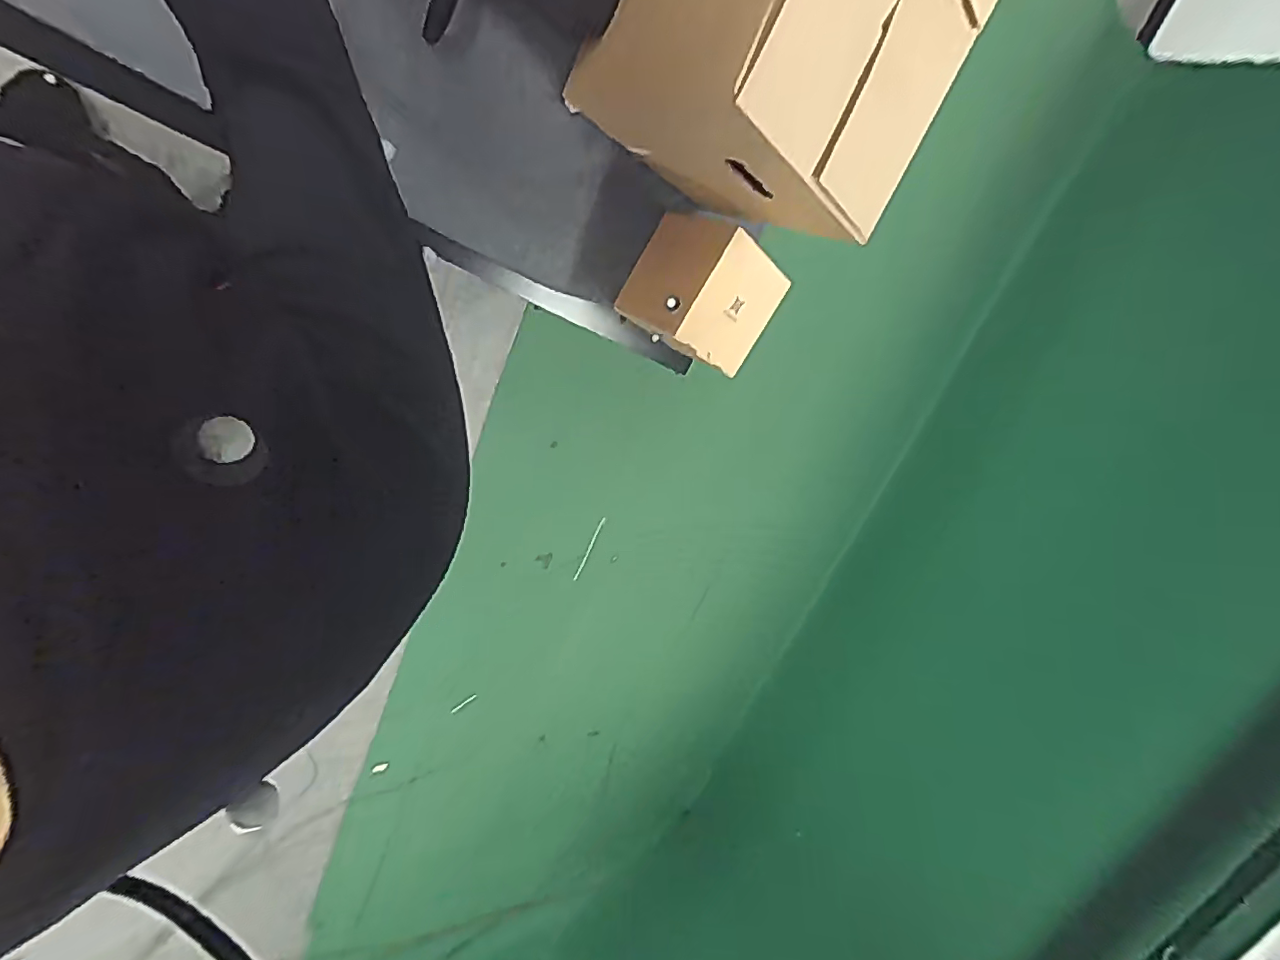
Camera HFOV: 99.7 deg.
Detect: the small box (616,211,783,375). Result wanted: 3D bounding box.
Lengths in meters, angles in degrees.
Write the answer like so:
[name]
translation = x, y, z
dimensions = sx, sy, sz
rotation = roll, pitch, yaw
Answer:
[small box]
translation = 0.091, -0.304, 0.878
dimensions = 0.168, 0.176, 0.179
rotation = 20, 106, -47
